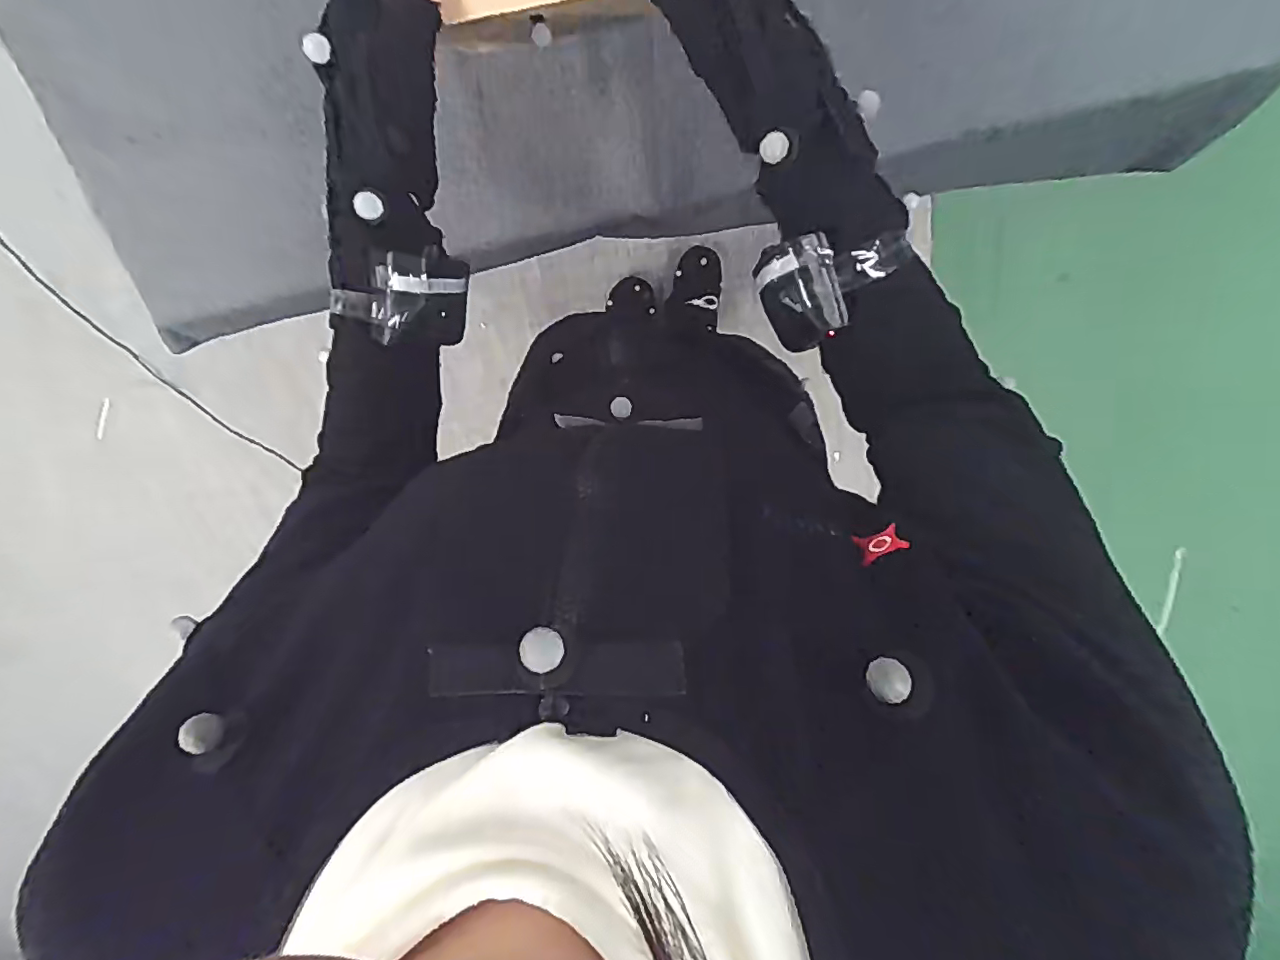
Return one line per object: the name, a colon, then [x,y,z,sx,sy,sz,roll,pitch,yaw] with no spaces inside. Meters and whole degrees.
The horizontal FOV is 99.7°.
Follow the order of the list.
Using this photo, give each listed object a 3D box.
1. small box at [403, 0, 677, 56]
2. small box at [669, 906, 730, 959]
small box: [-0.062,-0.386,0.332,0.179,0.176,0.168,-9,123,6]
small box: [0.208,1.611,1.860,0.179,0.176,0.168,-16,113,12]
